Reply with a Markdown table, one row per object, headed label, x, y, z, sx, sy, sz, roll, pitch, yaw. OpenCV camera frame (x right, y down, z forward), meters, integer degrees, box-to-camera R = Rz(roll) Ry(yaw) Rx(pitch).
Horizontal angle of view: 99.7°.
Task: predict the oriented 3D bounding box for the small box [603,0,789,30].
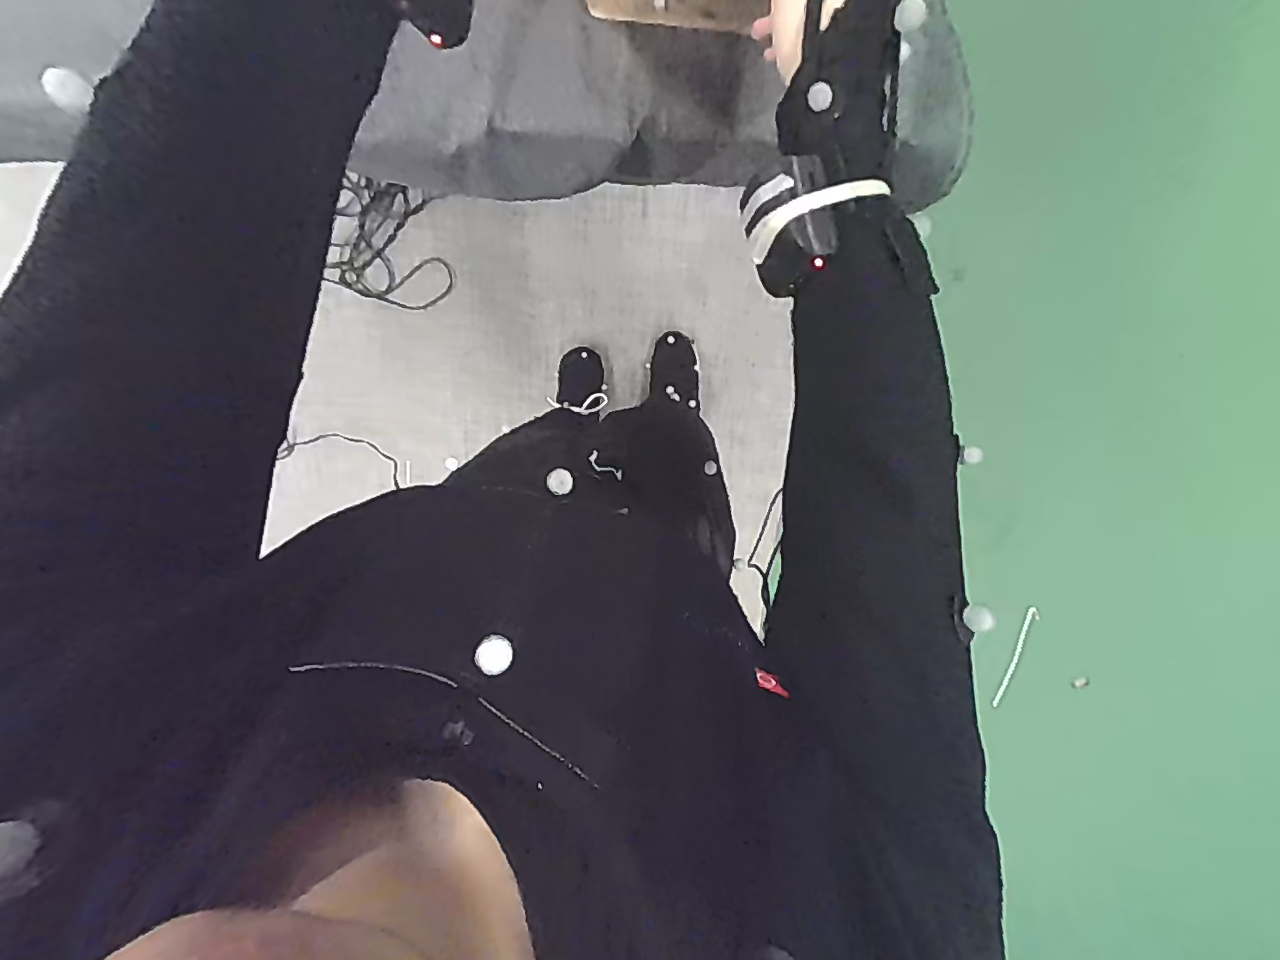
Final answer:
| label | x | y | z | sx | sy | sz | roll | pitch | yaw |
| --- | --- | --- | --- | --- | --- | --- | --- | --- | --- |
| small box | 0.040 | -0.441 | 0.349 | 0.168 | 0.176 | 0.179 | 10 | 111 | 5 |
